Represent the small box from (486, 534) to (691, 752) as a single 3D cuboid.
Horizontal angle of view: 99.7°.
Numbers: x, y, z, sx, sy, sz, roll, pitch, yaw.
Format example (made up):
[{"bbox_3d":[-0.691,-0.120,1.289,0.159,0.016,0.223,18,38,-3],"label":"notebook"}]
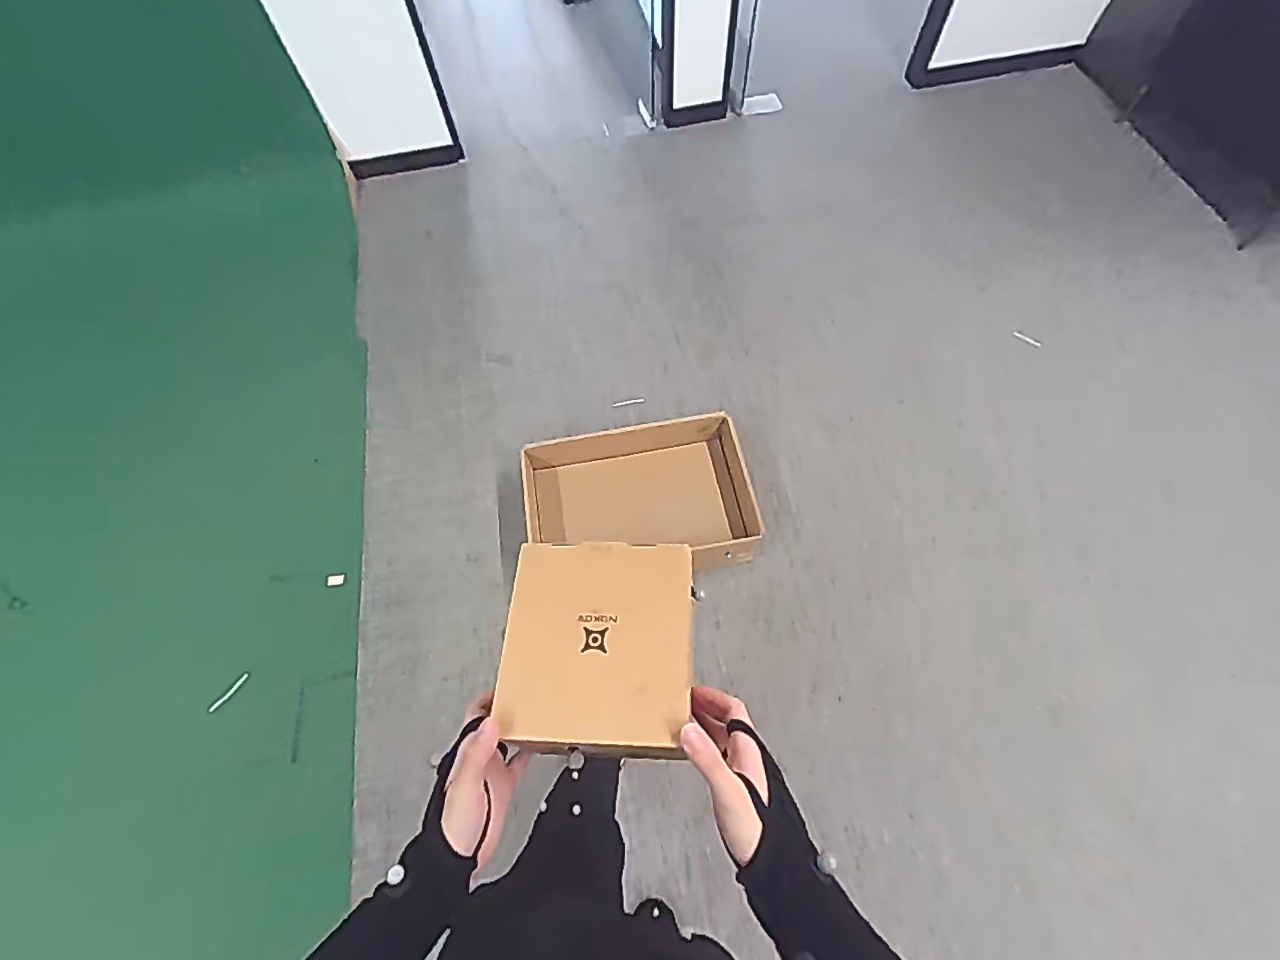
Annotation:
[{"bbox_3d":[-0.034,0.169,0.546,0.168,0.176,0.179,0,57,7],"label":"small box"}]
